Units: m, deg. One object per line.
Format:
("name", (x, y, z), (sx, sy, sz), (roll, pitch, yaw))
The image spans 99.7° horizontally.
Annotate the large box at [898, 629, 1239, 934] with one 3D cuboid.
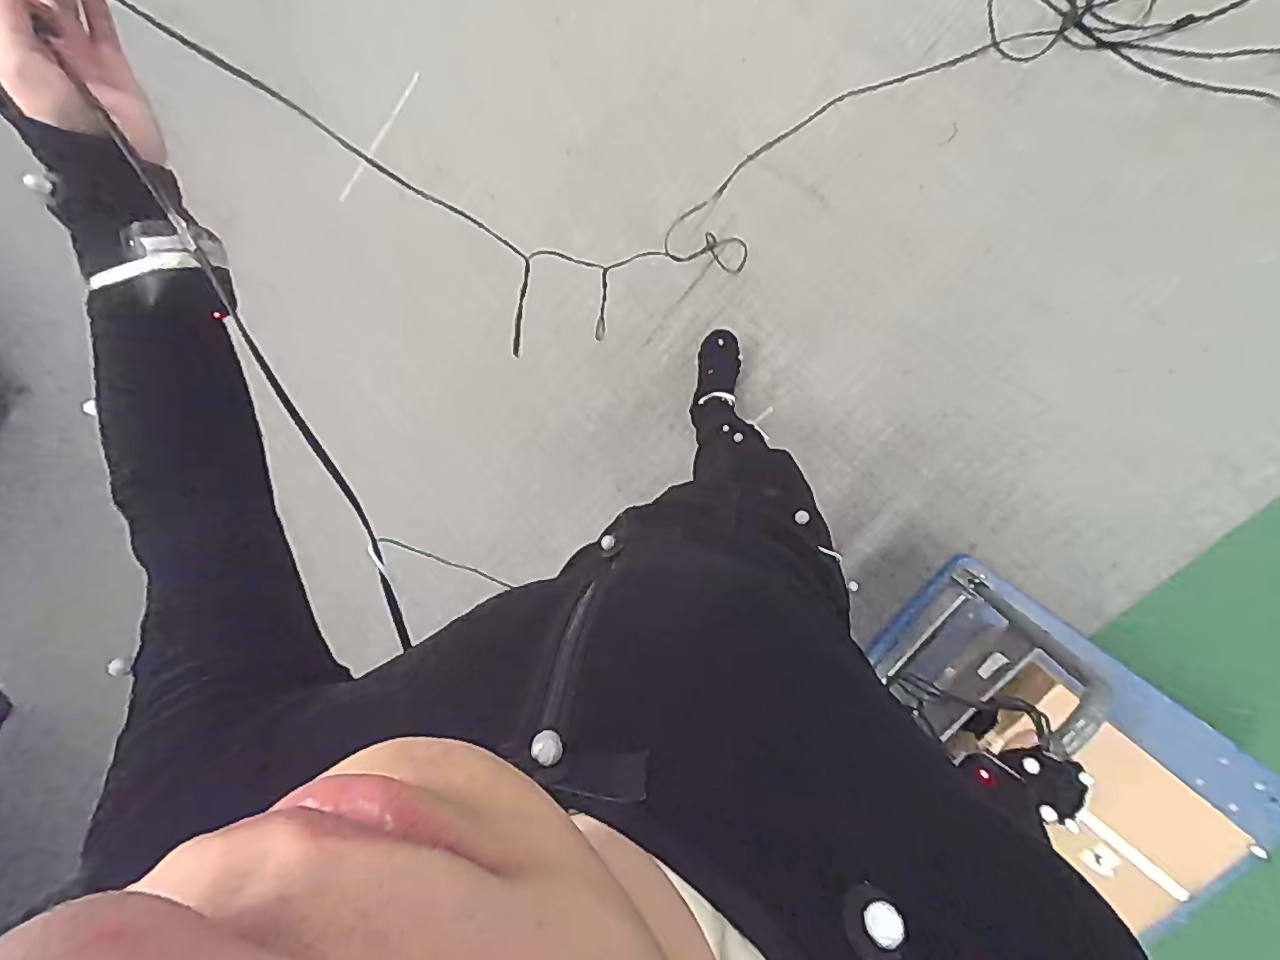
("large box", (0.845, 0.598, 1.148), (0.408, 0.320, 0.320), (40, 103, 7))
